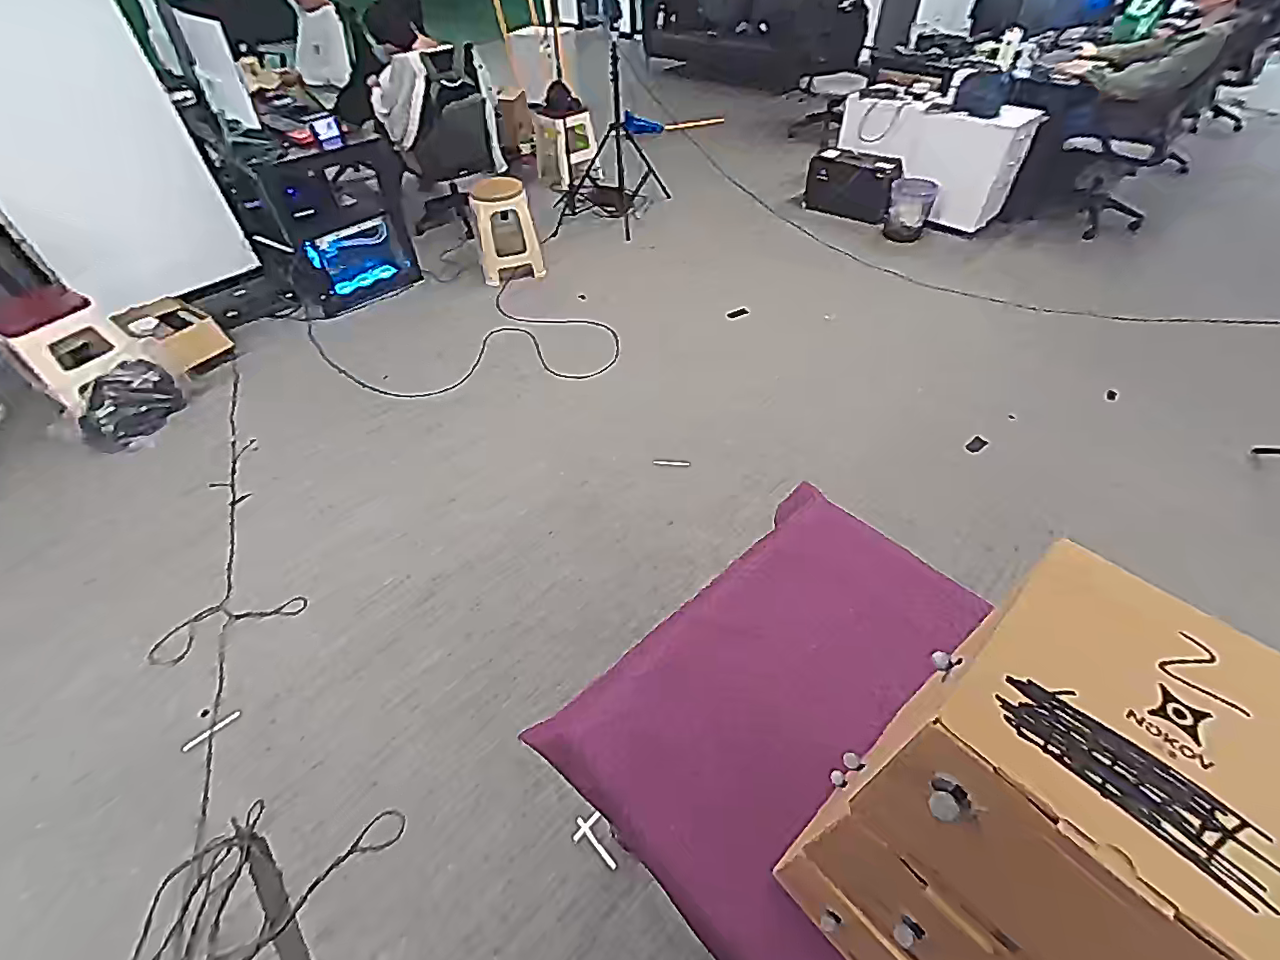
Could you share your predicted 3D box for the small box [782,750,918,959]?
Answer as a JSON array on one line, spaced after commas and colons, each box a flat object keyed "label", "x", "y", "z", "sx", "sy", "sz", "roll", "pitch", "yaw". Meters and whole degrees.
[{"label": "small box", "x": 0.270, "y": 0.411, "z": 0.575, "sx": 0.179, "sy": 0.176, "sz": 0.168, "roll": -33, "pitch": 55, "yaw": -27}]

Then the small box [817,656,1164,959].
[{"label": "small box", "x": 0.271, "y": 0.295, "z": 0.458, "sx": 0.179, "sy": 0.176, "sz": 0.168, "roll": -36, "pitch": 56, "yaw": -28}]
